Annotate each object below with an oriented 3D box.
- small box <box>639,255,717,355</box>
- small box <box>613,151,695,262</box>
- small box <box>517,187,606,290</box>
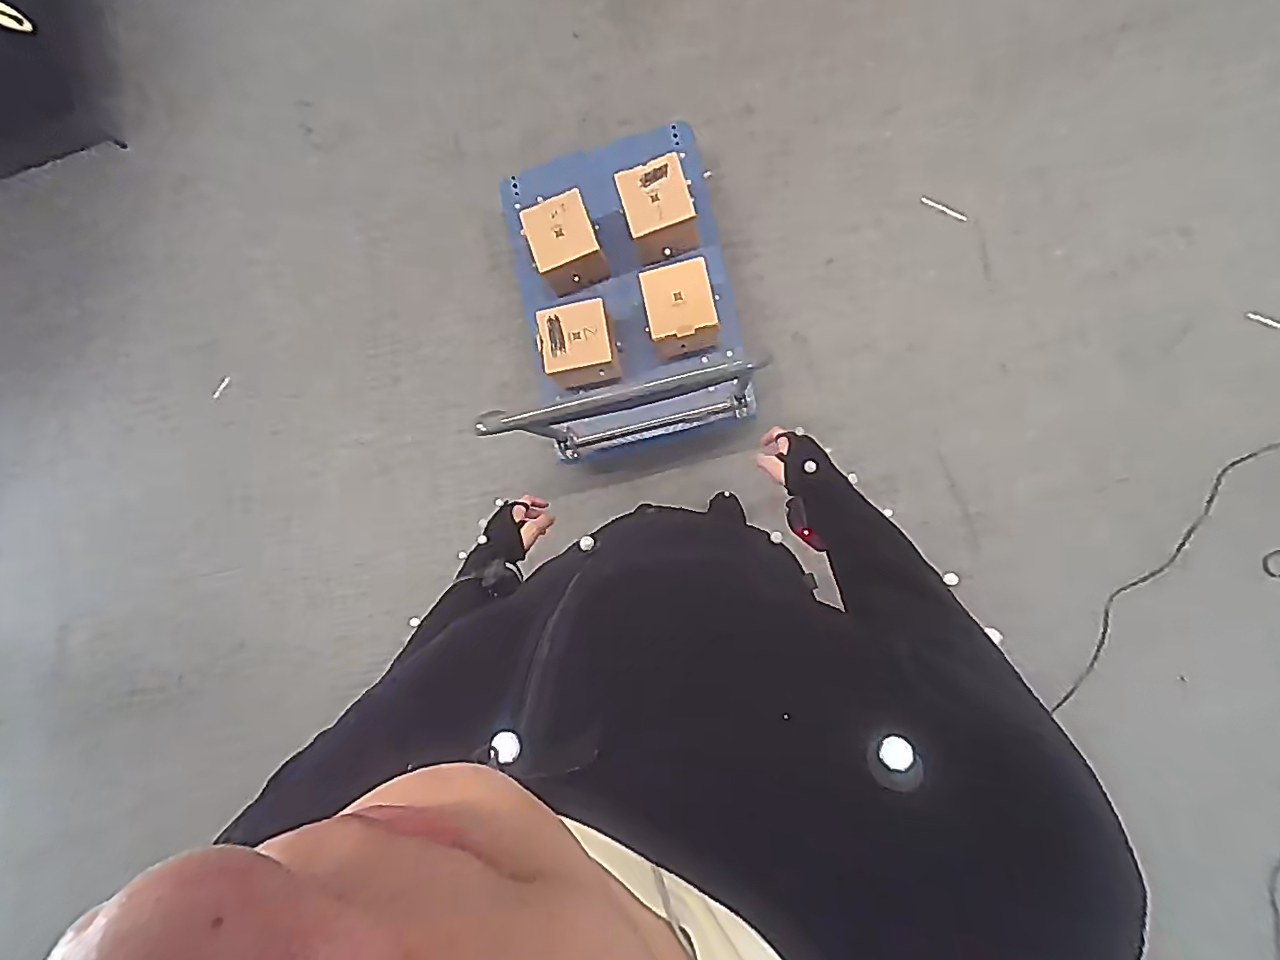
[{"bbox_3d":[0.100,-0.444,1.397,0.168,0.176,0.179,-13,86,7],"label":"small box"},{"bbox_3d":[0.040,-0.706,1.413,0.168,0.176,0.179,-17,86,7],"label":"small box"},{"bbox_3d":[-0.202,-0.630,1.443,0.168,0.176,0.179,-20,86,6],"label":"small box"}]
